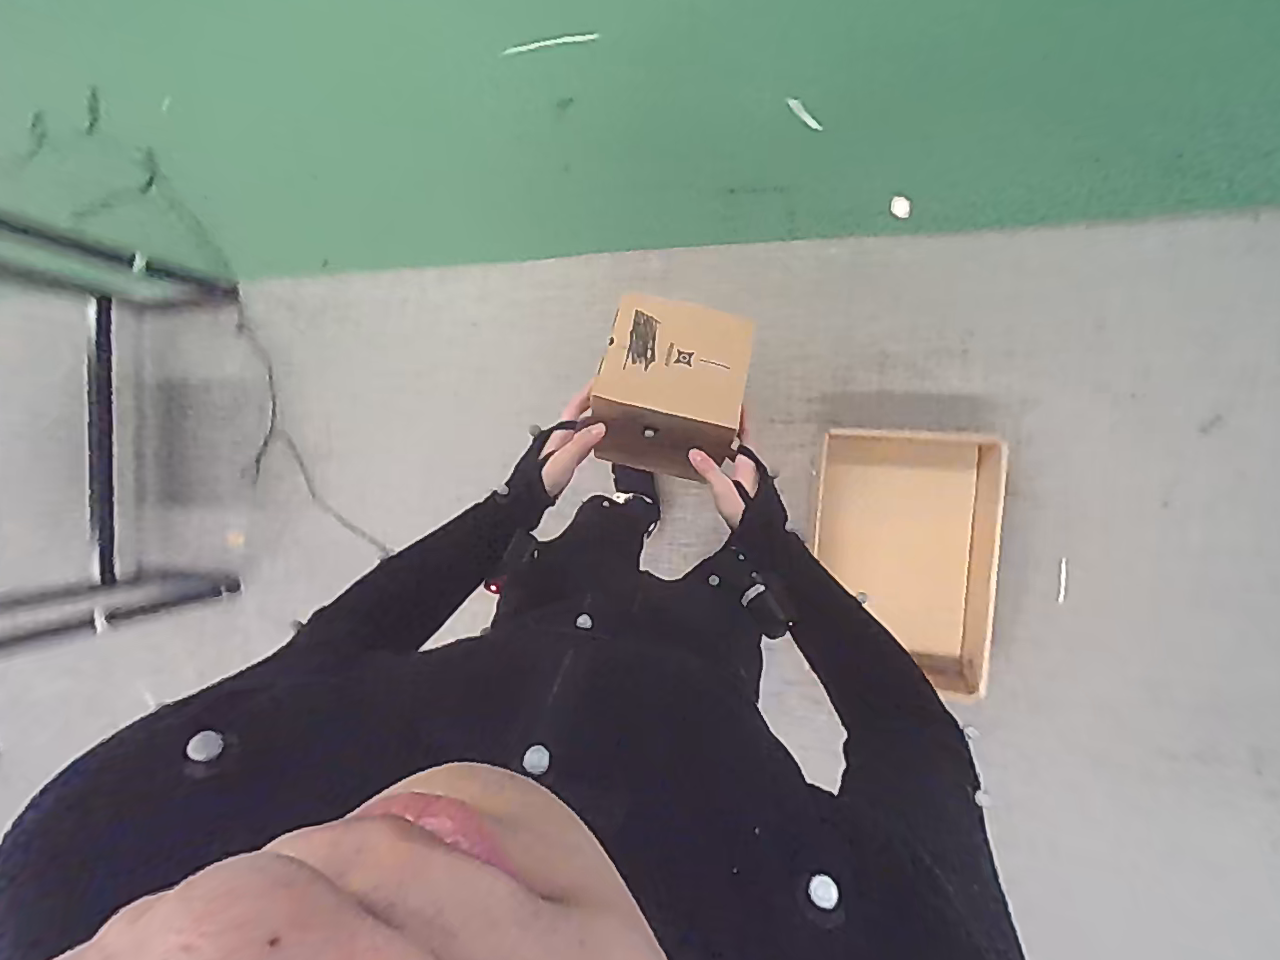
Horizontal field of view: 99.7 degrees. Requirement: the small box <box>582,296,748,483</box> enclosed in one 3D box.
[{"bbox_3d":[0.030,-0.112,0.723,0.179,0.176,0.168,12,67,2],"label":"small box"}]
